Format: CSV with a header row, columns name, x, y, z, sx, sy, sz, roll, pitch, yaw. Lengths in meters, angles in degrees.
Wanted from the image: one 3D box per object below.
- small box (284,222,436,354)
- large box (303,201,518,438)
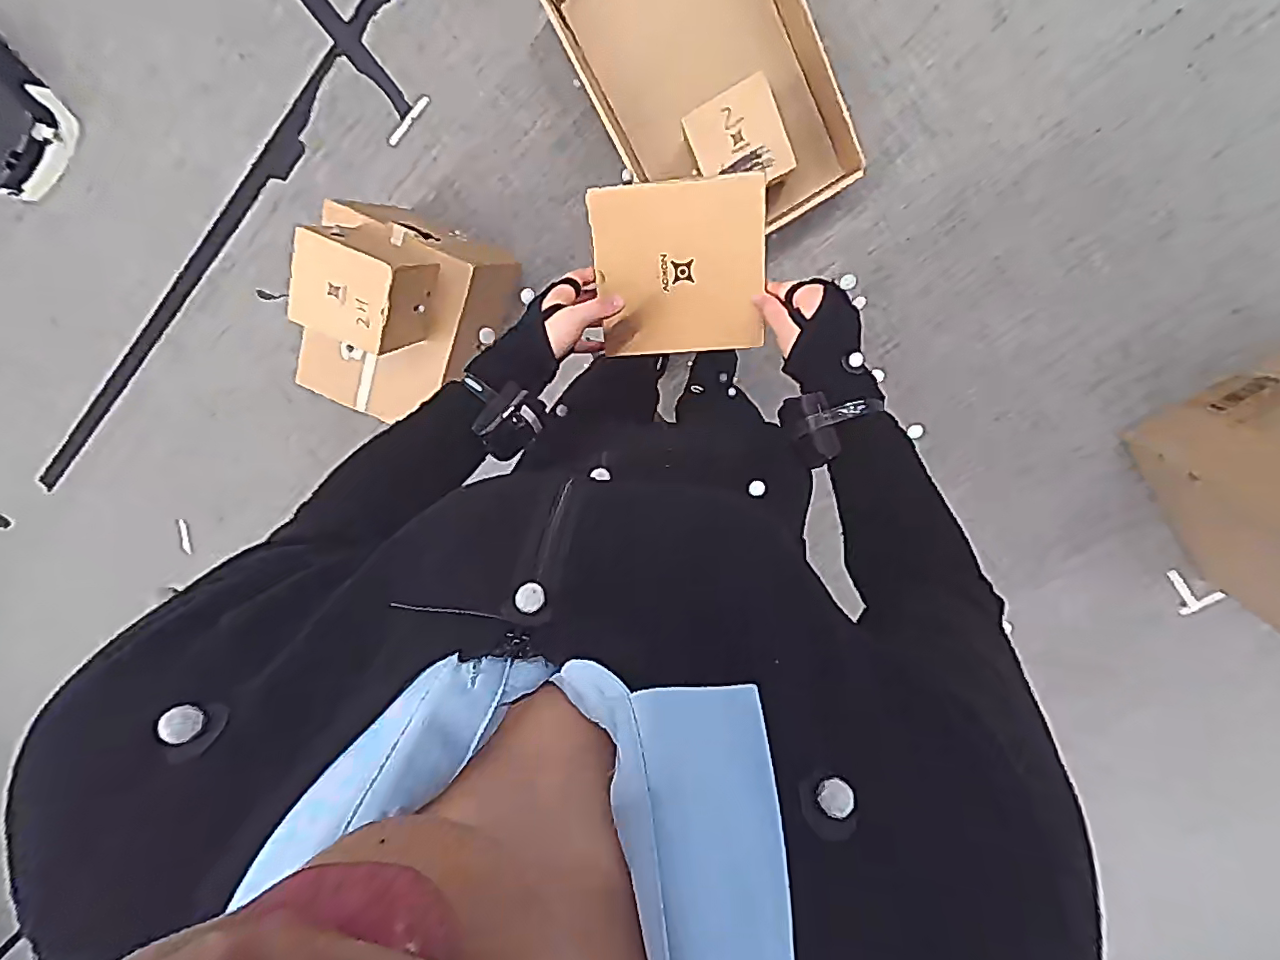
name,x,y,z,sx,sy,sz,roll,pitch,yaw
small box,-0.510,-0.355,0.999,0.179,0.176,0.168,23,115,-4
large box,-0.520,-0.378,1.261,0.320,0.320,0.408,24,115,-3
